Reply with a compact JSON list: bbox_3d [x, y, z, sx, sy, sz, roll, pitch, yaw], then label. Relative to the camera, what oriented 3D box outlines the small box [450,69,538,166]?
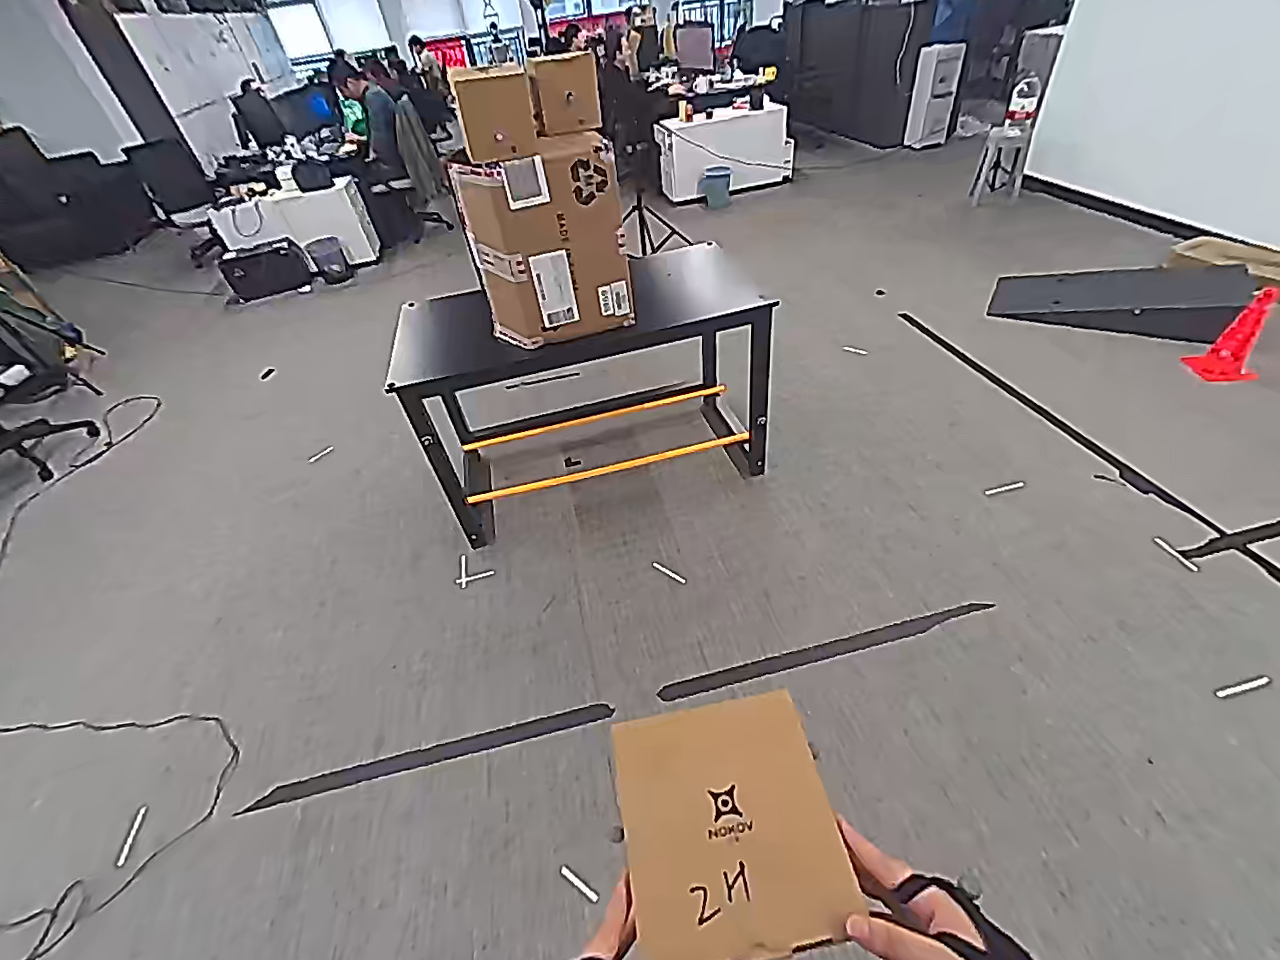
[{"bbox_3d":[-0.356,-0.888,1.325,0.168,0.176,0.179,-16,45,-11],"label":"small box"}]

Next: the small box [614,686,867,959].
[{"bbox_3d":[0.073,0.317,0.490,0.168,0.176,0.179,-11,47,-3],"label":"small box"}]

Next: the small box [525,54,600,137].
[{"bbox_3d":[-0.216,-1.080,1.522,0.168,0.176,0.179,-15,42,-11],"label":"small box"}]
